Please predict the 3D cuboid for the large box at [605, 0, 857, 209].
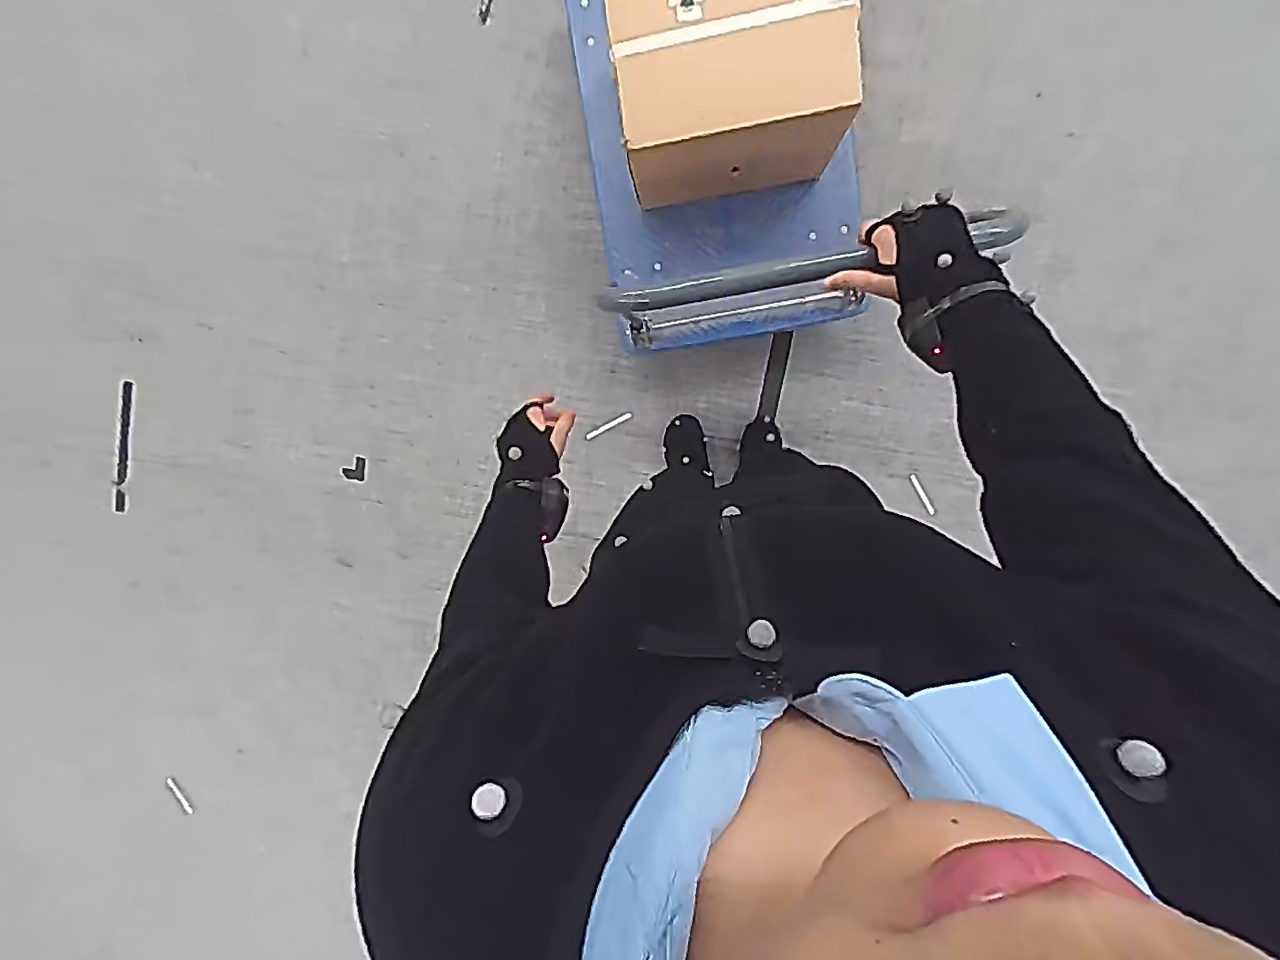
[{"bbox_3d":[0.169,-0.781,1.070,0.408,0.320,0.320,-8,97,7],"label":"large box"}]
